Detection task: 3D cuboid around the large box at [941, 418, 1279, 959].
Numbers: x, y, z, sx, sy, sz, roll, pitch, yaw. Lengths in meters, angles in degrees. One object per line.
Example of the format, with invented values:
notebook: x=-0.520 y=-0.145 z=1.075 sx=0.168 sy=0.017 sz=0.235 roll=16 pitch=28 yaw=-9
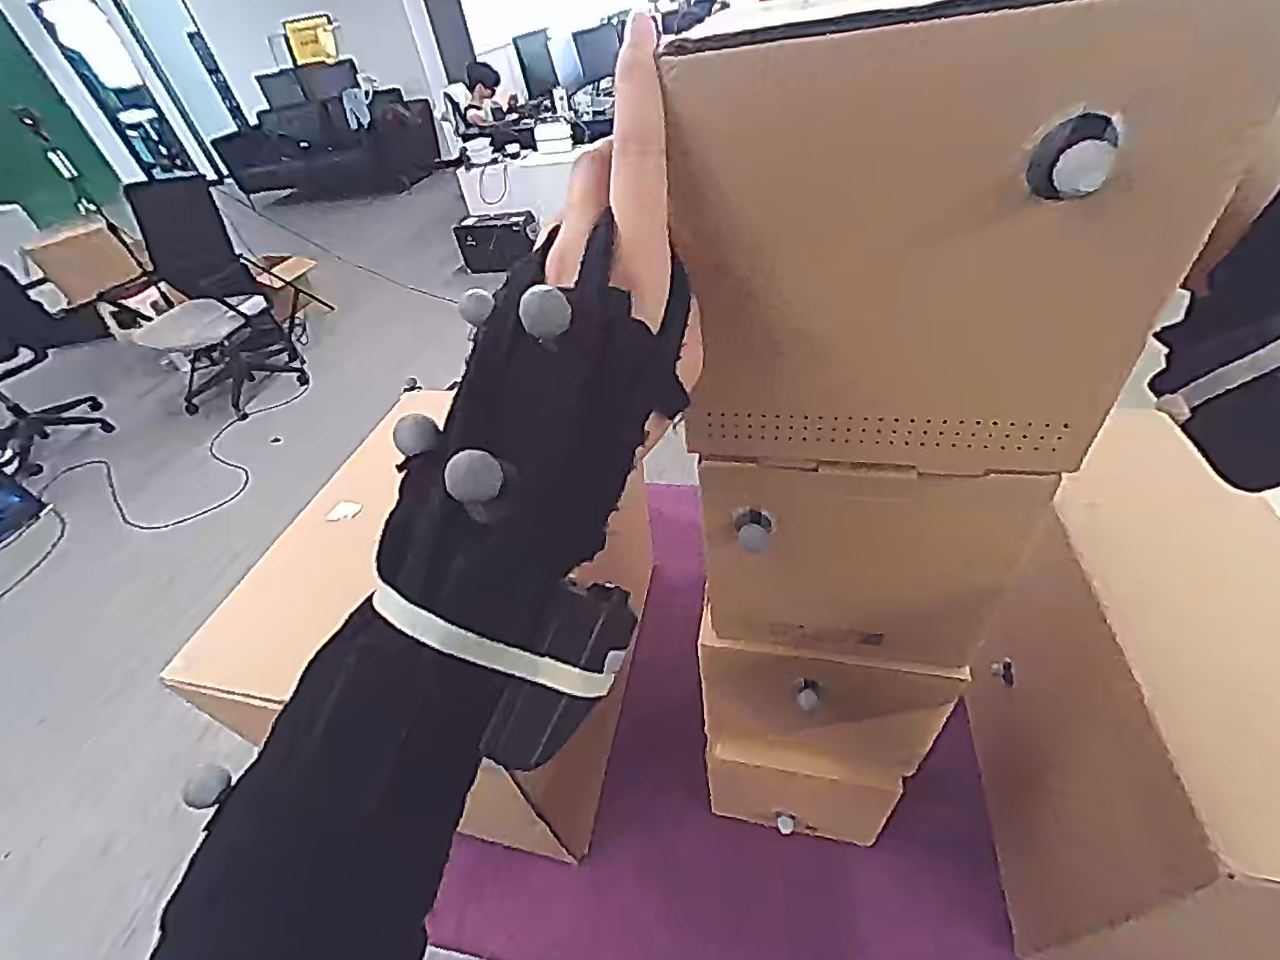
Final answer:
large box: x=0.501 y=0.190 z=0.479 sx=0.320 sy=0.320 sz=0.408 roll=3 pitch=43 yaw=14
